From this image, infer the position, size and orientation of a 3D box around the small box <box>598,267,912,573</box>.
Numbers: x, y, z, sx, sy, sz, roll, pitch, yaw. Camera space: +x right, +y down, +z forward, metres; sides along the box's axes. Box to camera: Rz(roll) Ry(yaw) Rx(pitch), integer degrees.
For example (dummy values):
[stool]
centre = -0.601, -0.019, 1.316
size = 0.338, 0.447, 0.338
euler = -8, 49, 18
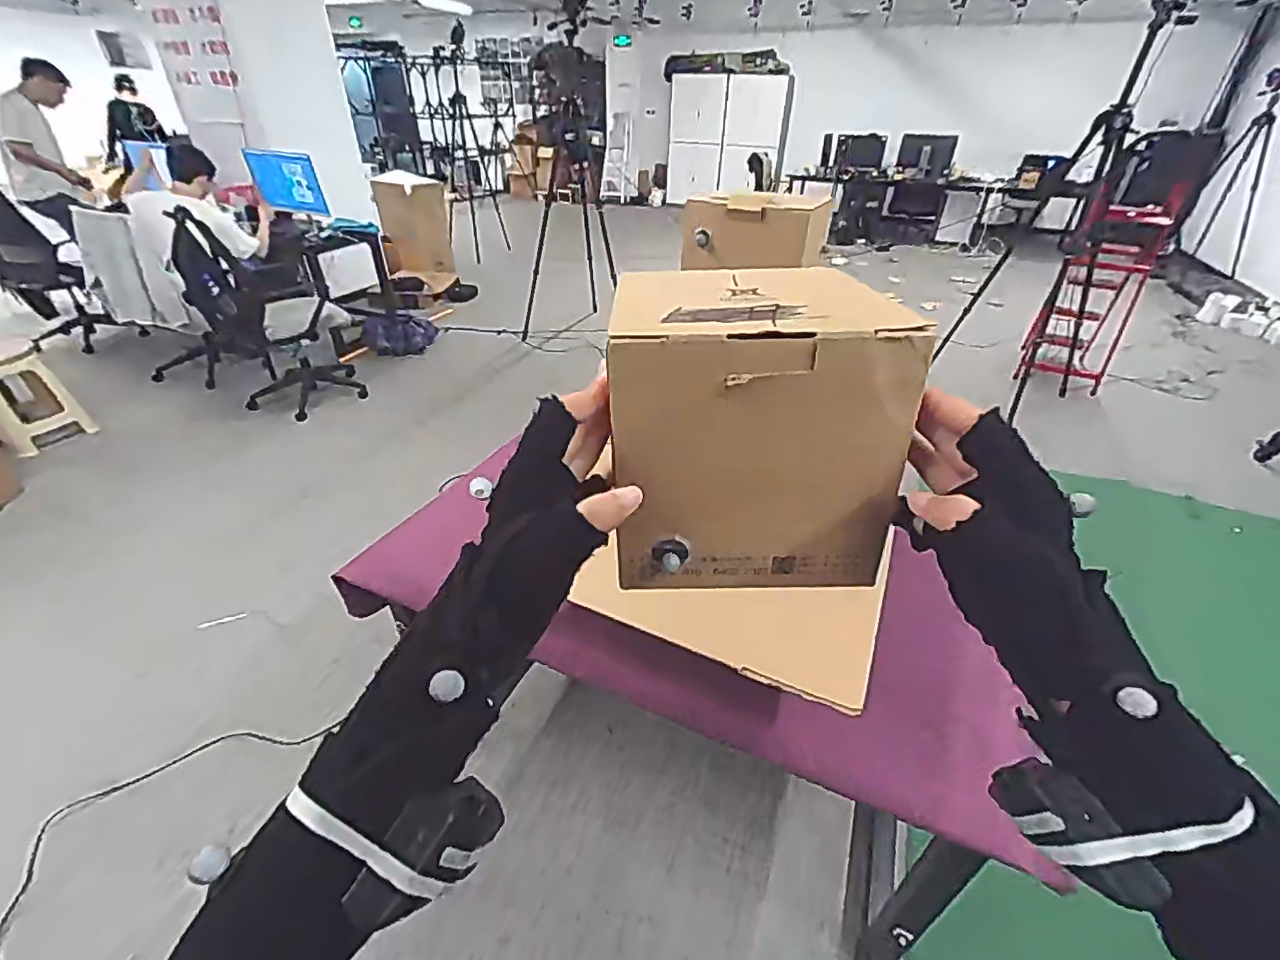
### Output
[small box]
centre = 0.064, -0.047, 0.389
size = 0.168, 0.176, 0.179
euler = -1, 30, 1
